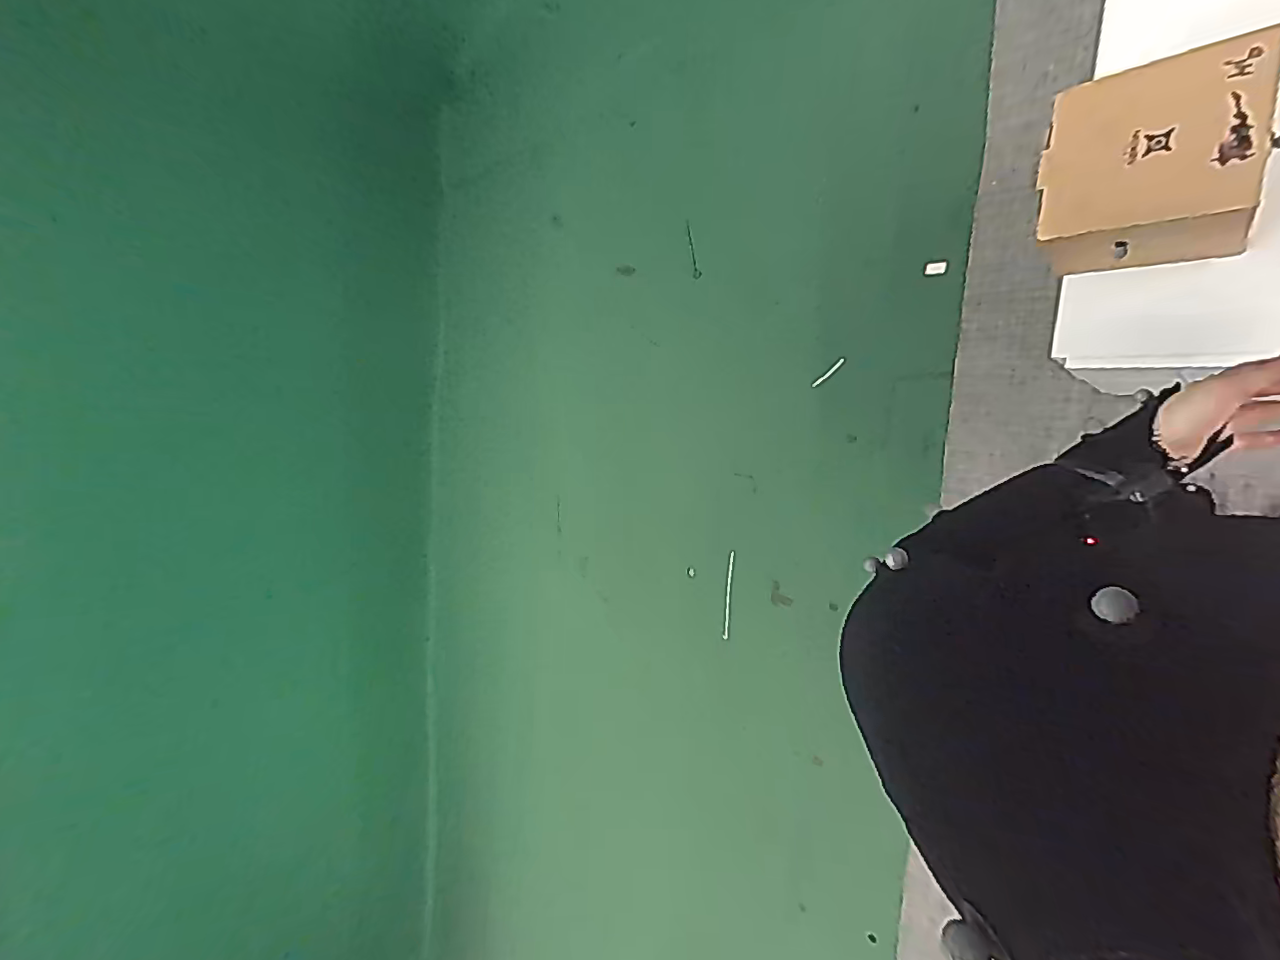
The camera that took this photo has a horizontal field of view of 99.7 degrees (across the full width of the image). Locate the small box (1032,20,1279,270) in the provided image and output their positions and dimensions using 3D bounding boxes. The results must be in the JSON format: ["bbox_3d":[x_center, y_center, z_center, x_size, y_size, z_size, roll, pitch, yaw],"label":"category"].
[{"bbox_3d":[0.581,-0.353,0.618,0.179,0.176,0.168,10,98,45],"label":"small box"}]
